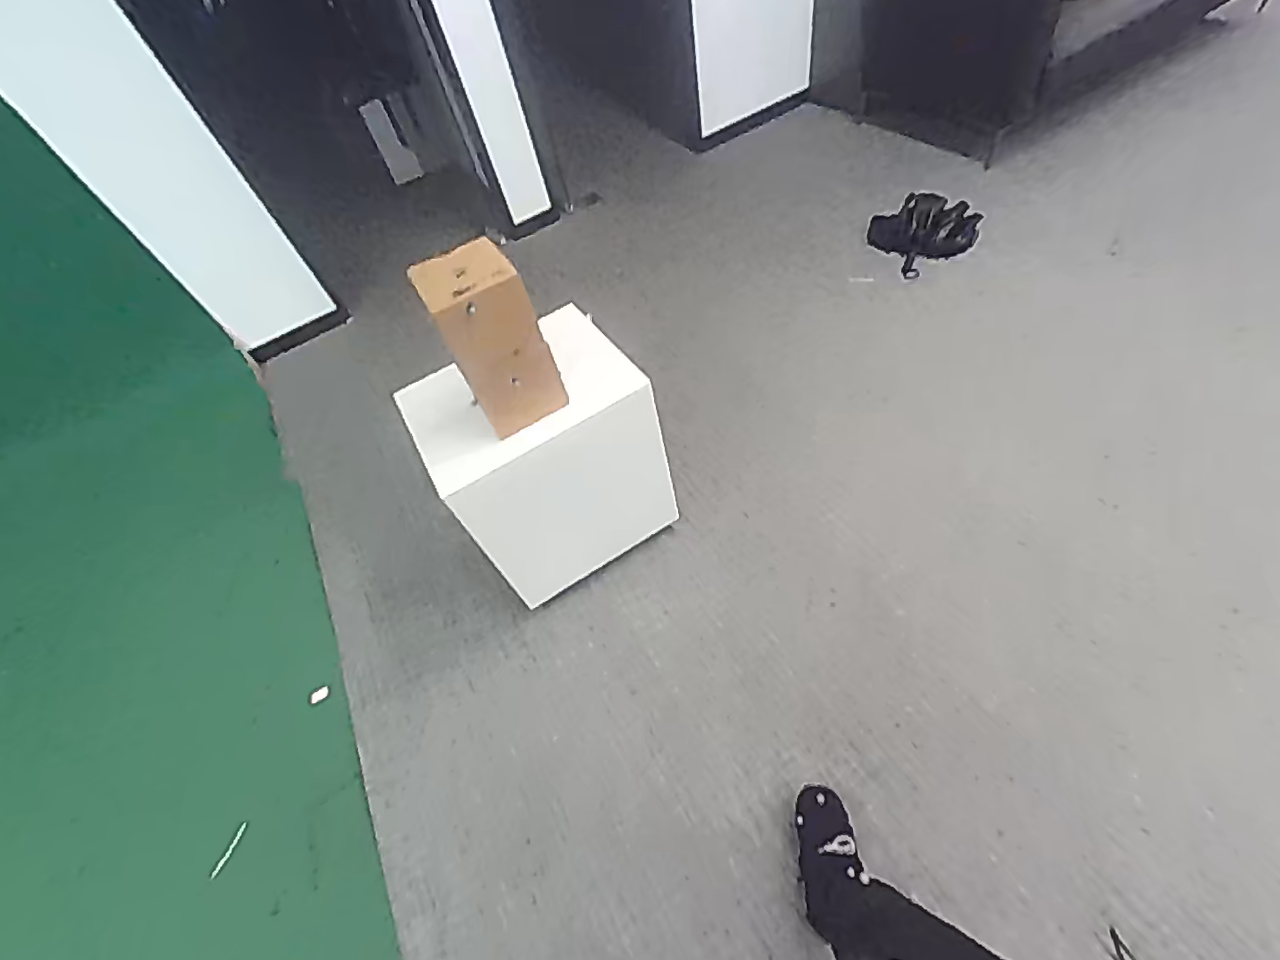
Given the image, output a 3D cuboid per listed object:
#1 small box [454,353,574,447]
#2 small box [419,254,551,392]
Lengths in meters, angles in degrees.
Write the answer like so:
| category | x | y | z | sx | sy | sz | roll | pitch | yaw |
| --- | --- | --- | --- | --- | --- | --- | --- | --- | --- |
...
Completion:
| category | x | y | z | sx | sy | sz | roll | pitch | yaw |
| --- | --- | --- | --- | --- | --- | --- | --- | --- | --- |
| small box | -0.268 | -0.203 | 1.178 | 0.179 | 0.176 | 0.168 | -31 | 53 | -12 |
| small box | -0.297 | -0.304 | 1.055 | 0.168 | 0.176 | 0.179 | -32 | 53 | -13 |
